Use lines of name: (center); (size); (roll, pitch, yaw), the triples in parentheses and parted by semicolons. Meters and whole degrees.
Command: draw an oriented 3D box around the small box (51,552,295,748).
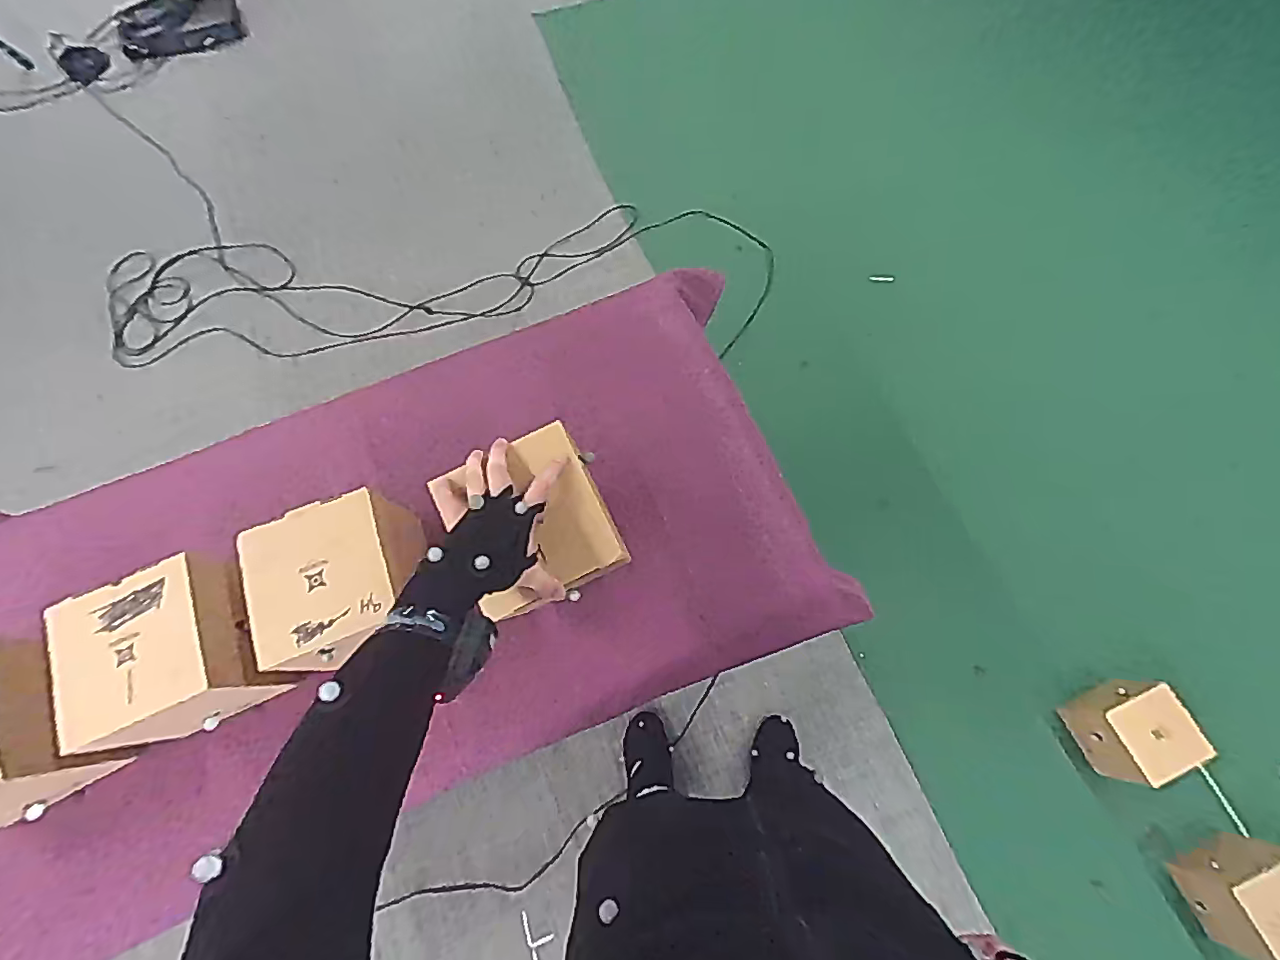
small box: (-0.594, 0.218, 0.706); (0.168, 0.176, 0.179); (-24, 73, -5)

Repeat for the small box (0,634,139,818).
small box: (-0.798, 0.316, 0.682); (0.168, 0.176, 0.179); (-28, 73, -7)

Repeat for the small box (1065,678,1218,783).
small box: (1.163, 0.583, 1.278); (0.179, 0.176, 0.168); (-23, 72, -6)

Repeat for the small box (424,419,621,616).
small box: (-0.134, 0.052, 0.678); (0.168, 0.176, 0.179); (-26, 81, -1)
